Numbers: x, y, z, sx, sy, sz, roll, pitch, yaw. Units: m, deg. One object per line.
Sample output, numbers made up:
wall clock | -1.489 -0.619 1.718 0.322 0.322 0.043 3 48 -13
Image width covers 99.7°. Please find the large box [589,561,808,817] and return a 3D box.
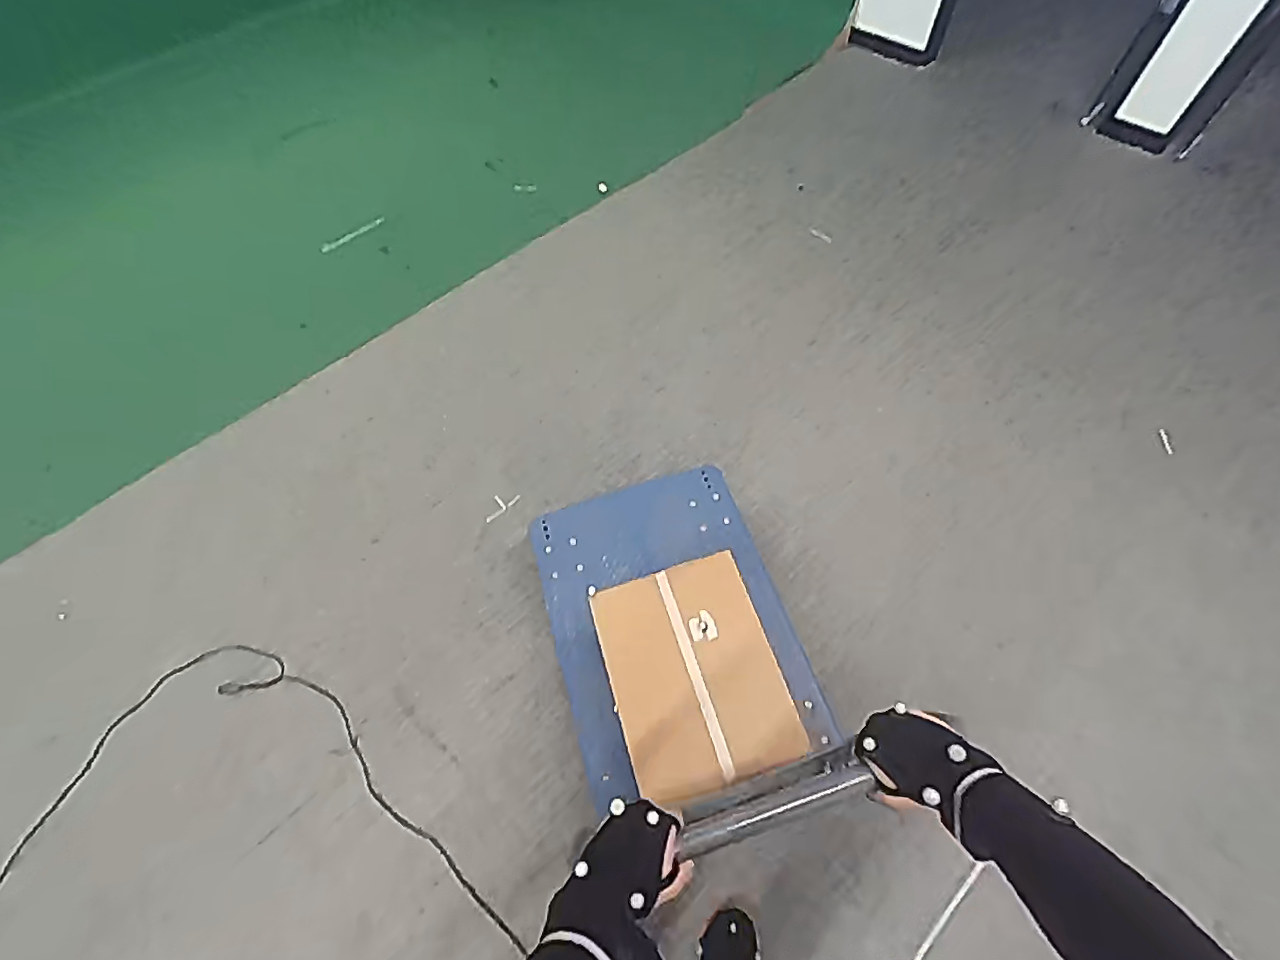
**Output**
large box | 0.111 0.452 1.170 0.320 0.320 0.408 -17 59 -5
